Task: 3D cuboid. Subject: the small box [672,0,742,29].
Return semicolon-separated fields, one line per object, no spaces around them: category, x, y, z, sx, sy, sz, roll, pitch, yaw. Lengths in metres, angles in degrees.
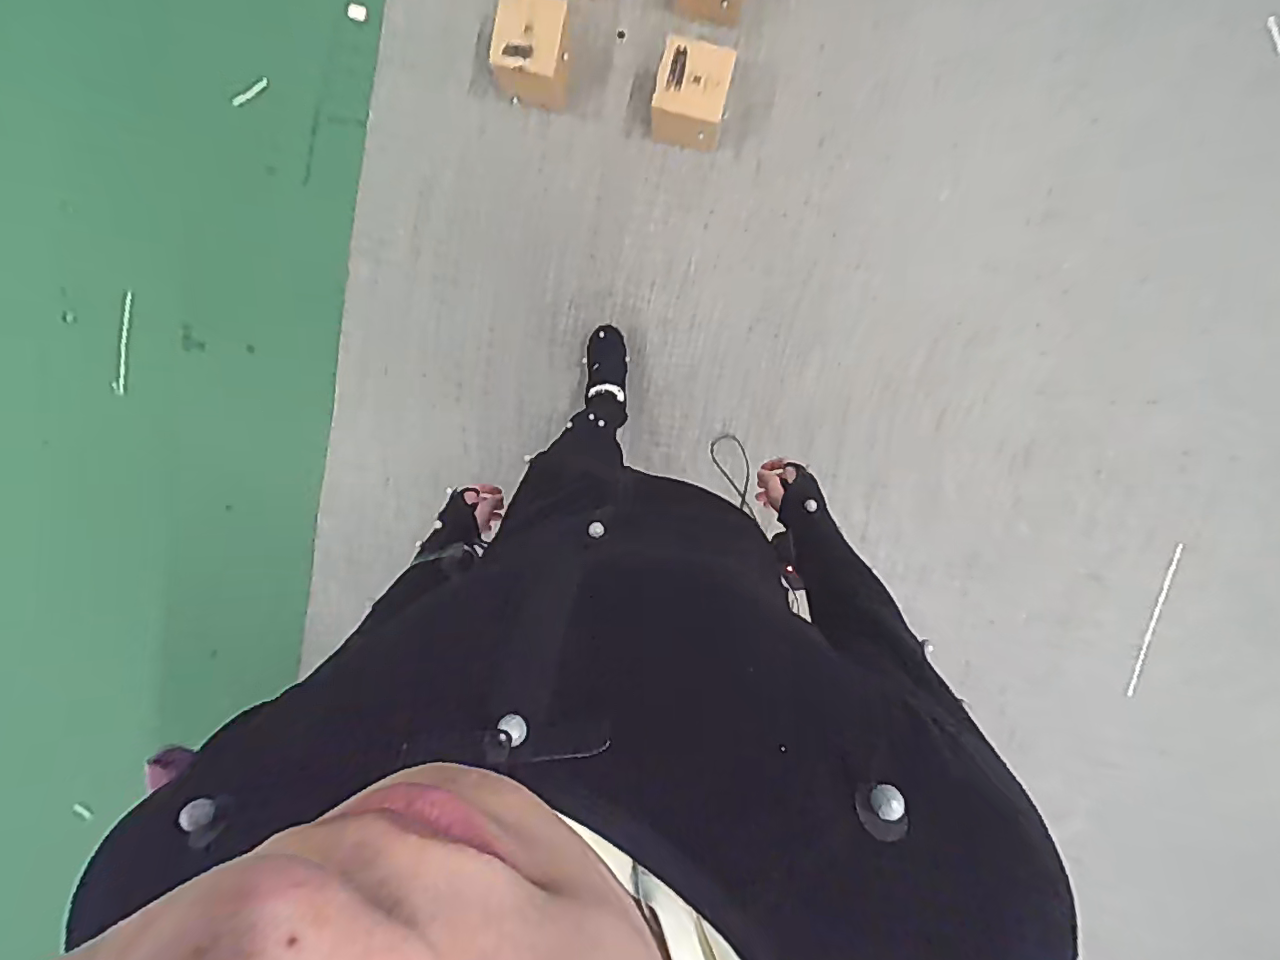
small box;0.182;-1.268;1.336;0.179;0.176;0.168;12;97;1

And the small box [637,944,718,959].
small box;0.067;0.933;0.904;0.179;0.176;0.168;12;99;2

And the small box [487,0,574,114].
small box;-0.272;-1.078;1.379;0.168;0.176;0.179;14;97;0
